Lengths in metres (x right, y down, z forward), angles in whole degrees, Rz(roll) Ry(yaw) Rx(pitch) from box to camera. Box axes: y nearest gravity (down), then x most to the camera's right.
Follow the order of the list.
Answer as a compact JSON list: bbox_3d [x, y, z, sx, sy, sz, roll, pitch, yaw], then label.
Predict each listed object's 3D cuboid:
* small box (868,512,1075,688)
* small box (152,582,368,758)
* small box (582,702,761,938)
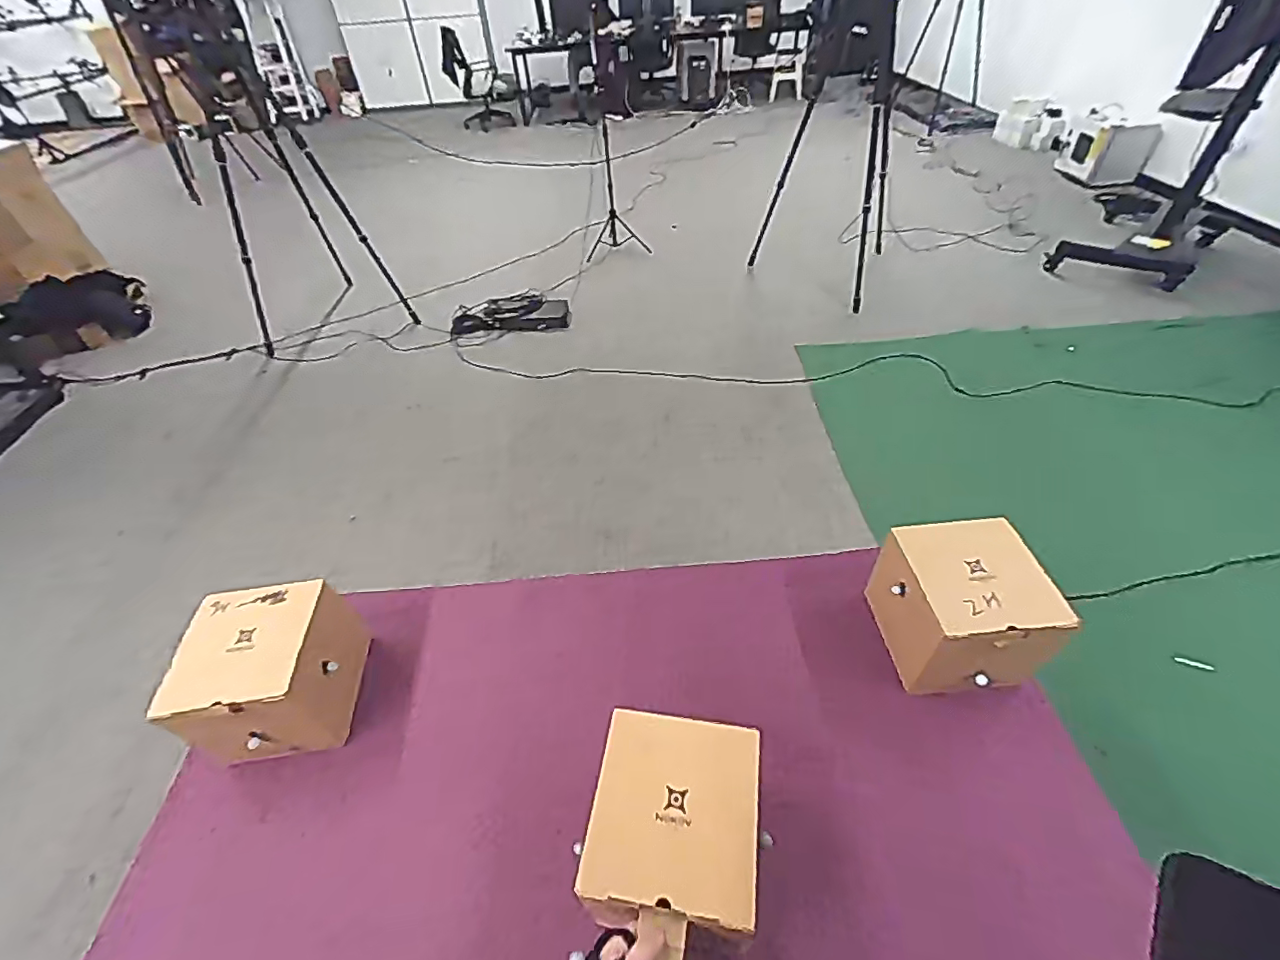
[{"bbox_3d":[0.445,0.170,0.767,0.168,0.176,0.179,-6,45,1],"label":"small box"},{"bbox_3d":[-0.510,0.272,0.762,0.168,0.176,0.179,-8,46,-4],"label":"small box"},{"bbox_3d":[0.043,0.378,0.605,0.168,0.176,0.179,4,46,9],"label":"small box"}]
